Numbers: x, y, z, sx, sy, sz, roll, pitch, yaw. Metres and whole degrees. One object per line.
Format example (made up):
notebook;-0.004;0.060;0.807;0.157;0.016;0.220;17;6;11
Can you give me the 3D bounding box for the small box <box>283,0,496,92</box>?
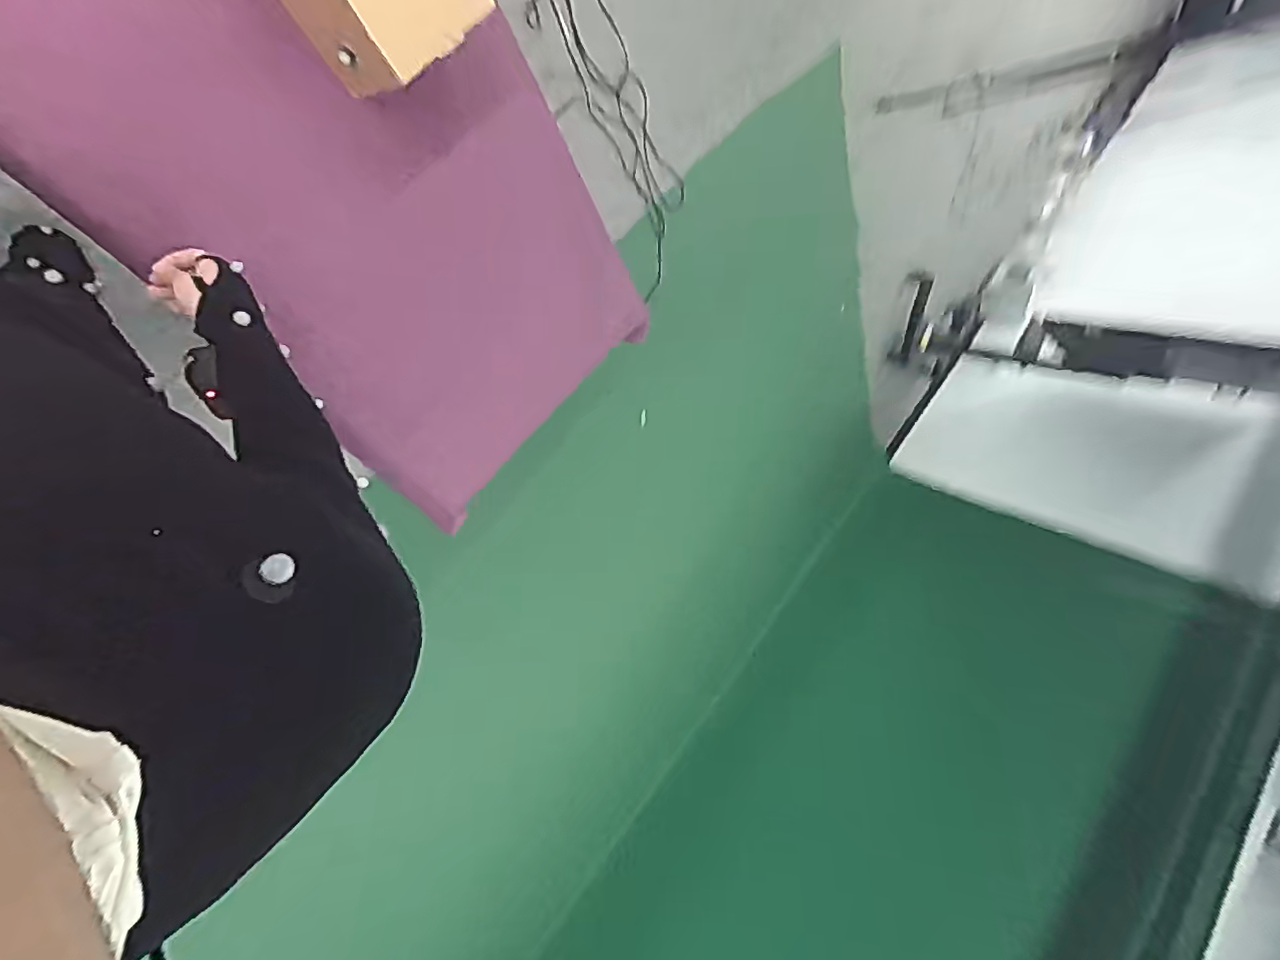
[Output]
small box;-0.311;-0.587;0.630;0.168;0.176;0.179;-51;138;-15
